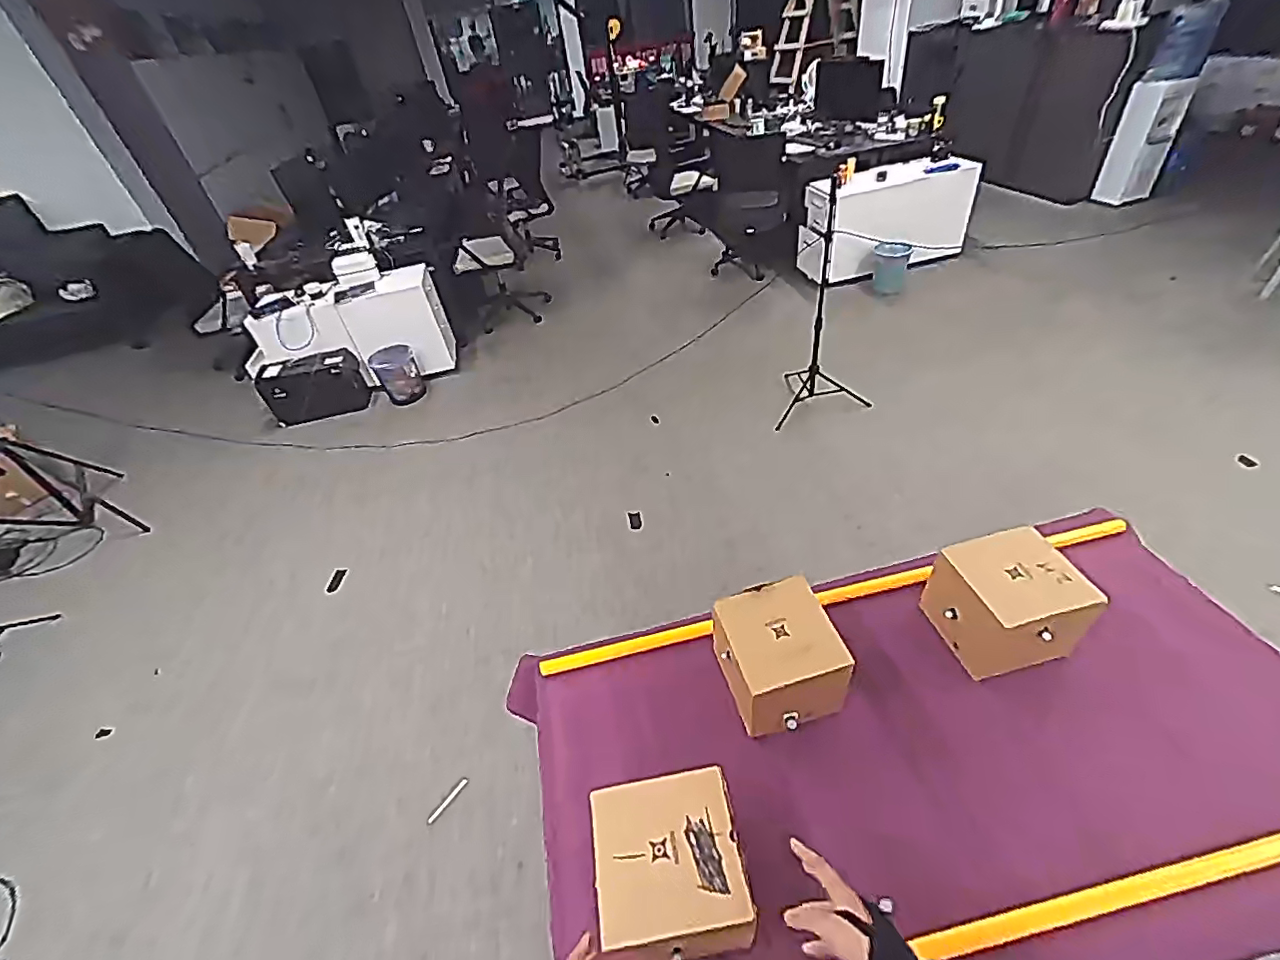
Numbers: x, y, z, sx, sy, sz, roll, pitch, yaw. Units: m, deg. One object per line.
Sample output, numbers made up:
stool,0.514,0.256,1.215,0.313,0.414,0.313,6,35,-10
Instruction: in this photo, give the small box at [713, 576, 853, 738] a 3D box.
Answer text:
small box,0.229,0.297,0.908,0.168,0.176,0.179,-16,42,-5

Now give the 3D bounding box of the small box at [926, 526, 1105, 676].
small box,0.621,0.210,0.927,0.179,0.176,0.168,-14,43,-4

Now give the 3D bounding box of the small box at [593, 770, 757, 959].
small box,0.042,0.507,0.702,0.179,0.176,0.168,-11,41,-2
